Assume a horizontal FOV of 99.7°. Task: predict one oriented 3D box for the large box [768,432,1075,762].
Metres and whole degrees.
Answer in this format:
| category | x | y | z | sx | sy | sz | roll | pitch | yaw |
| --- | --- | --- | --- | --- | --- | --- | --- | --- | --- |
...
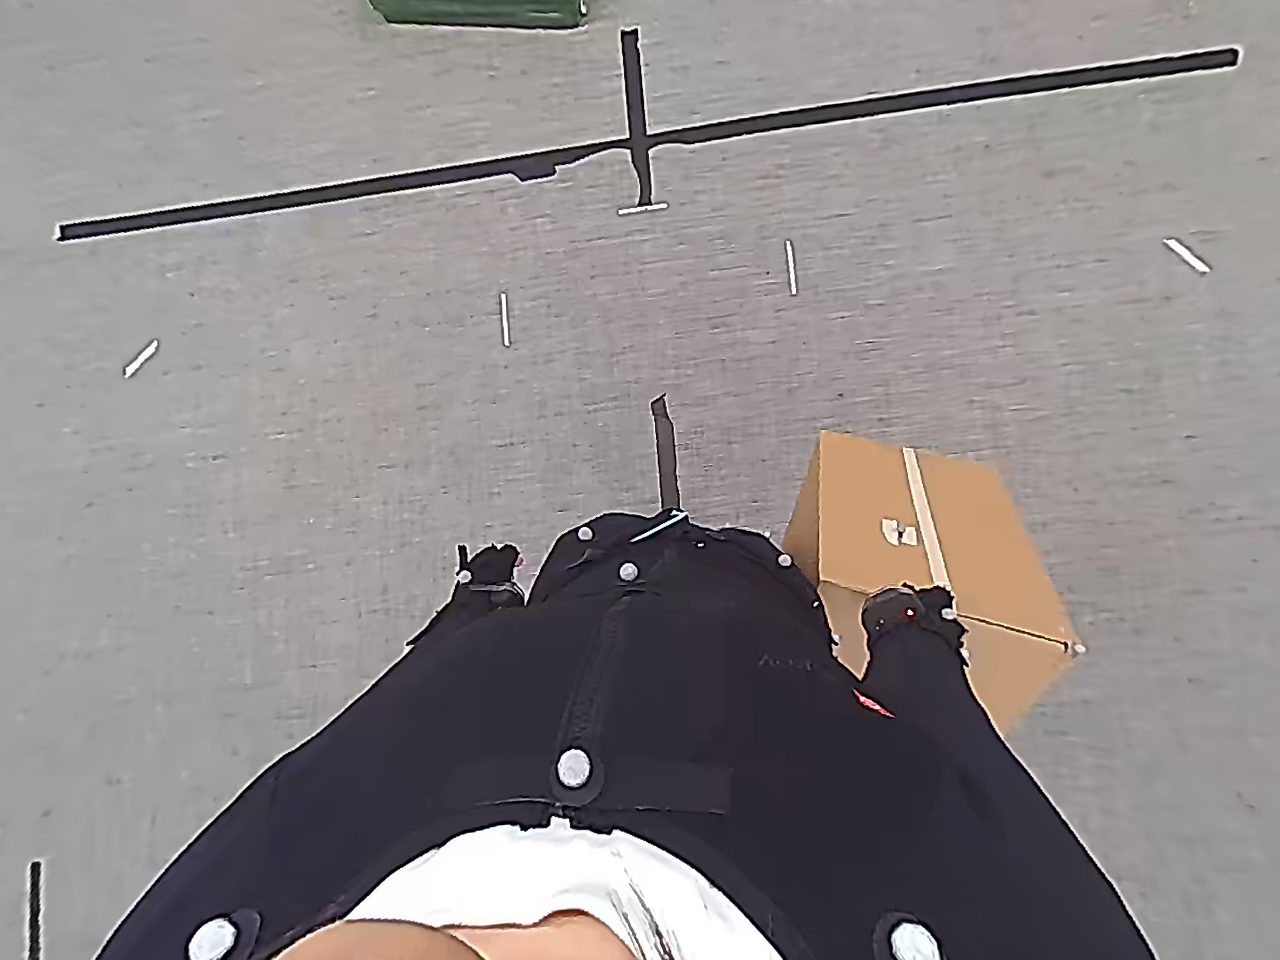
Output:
| category | x | y | z | sx | sy | sz | roll | pitch | yaw |
| --- | --- | --- | --- | --- | --- | --- | --- | --- | --- |
| large box | 0.416 | 0.175 | 0.918 | 0.320 | 0.408 | 0.320 | 13 | 128 | 10 |
